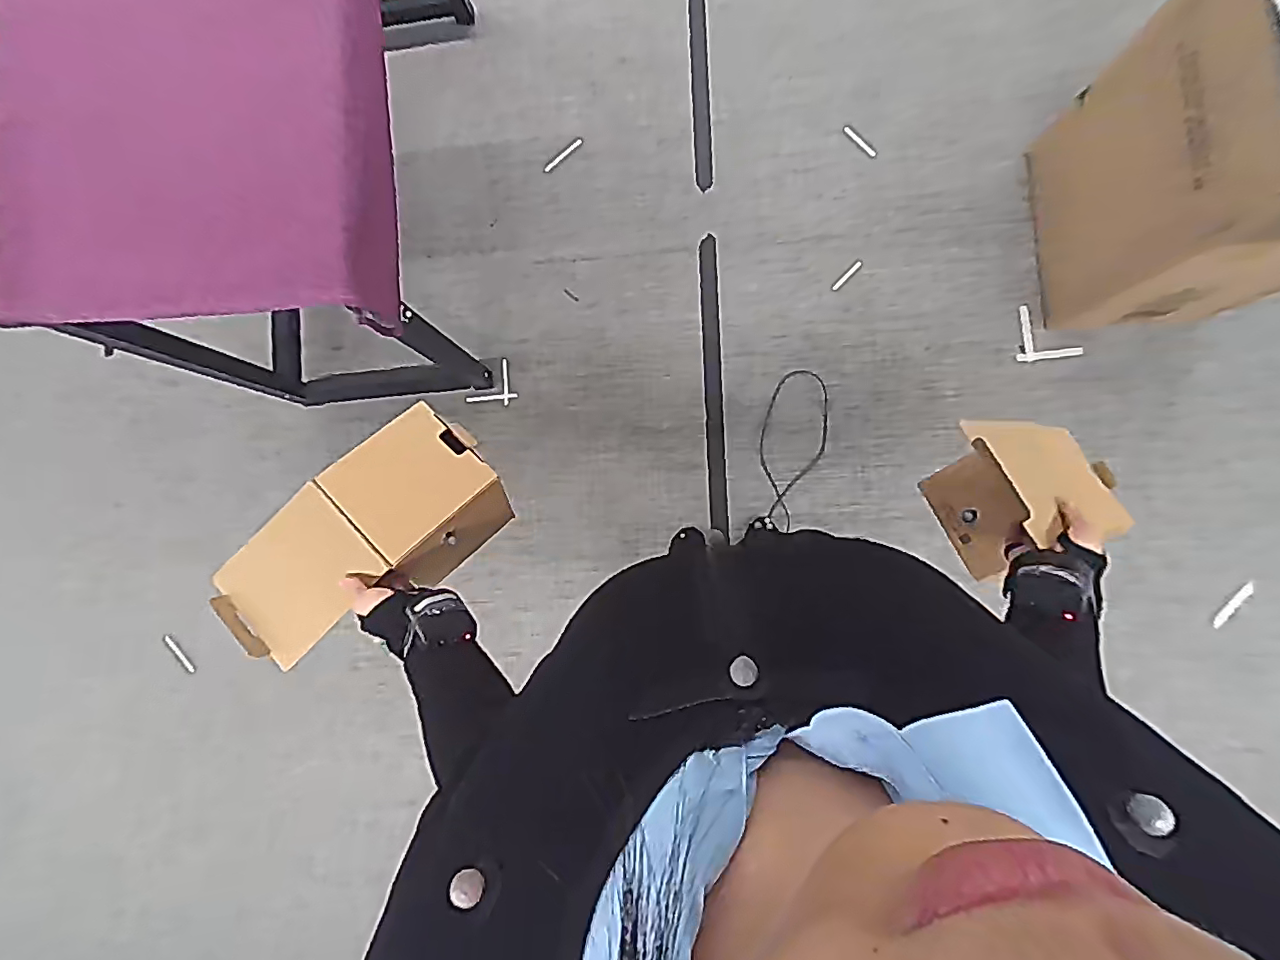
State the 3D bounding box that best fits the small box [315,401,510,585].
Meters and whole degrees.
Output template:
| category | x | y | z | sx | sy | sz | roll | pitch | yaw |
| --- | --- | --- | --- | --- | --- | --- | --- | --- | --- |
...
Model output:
| category | x | y | z | sx | sy | sz | roll | pitch | yaw |
| --- | --- | --- | --- | --- | --- | --- | --- | --- | --- |
| small box | -0.310 | 0.027 | 0.780 | 0.168 | 0.176 | 0.179 | 43 | 70 | 12 |
